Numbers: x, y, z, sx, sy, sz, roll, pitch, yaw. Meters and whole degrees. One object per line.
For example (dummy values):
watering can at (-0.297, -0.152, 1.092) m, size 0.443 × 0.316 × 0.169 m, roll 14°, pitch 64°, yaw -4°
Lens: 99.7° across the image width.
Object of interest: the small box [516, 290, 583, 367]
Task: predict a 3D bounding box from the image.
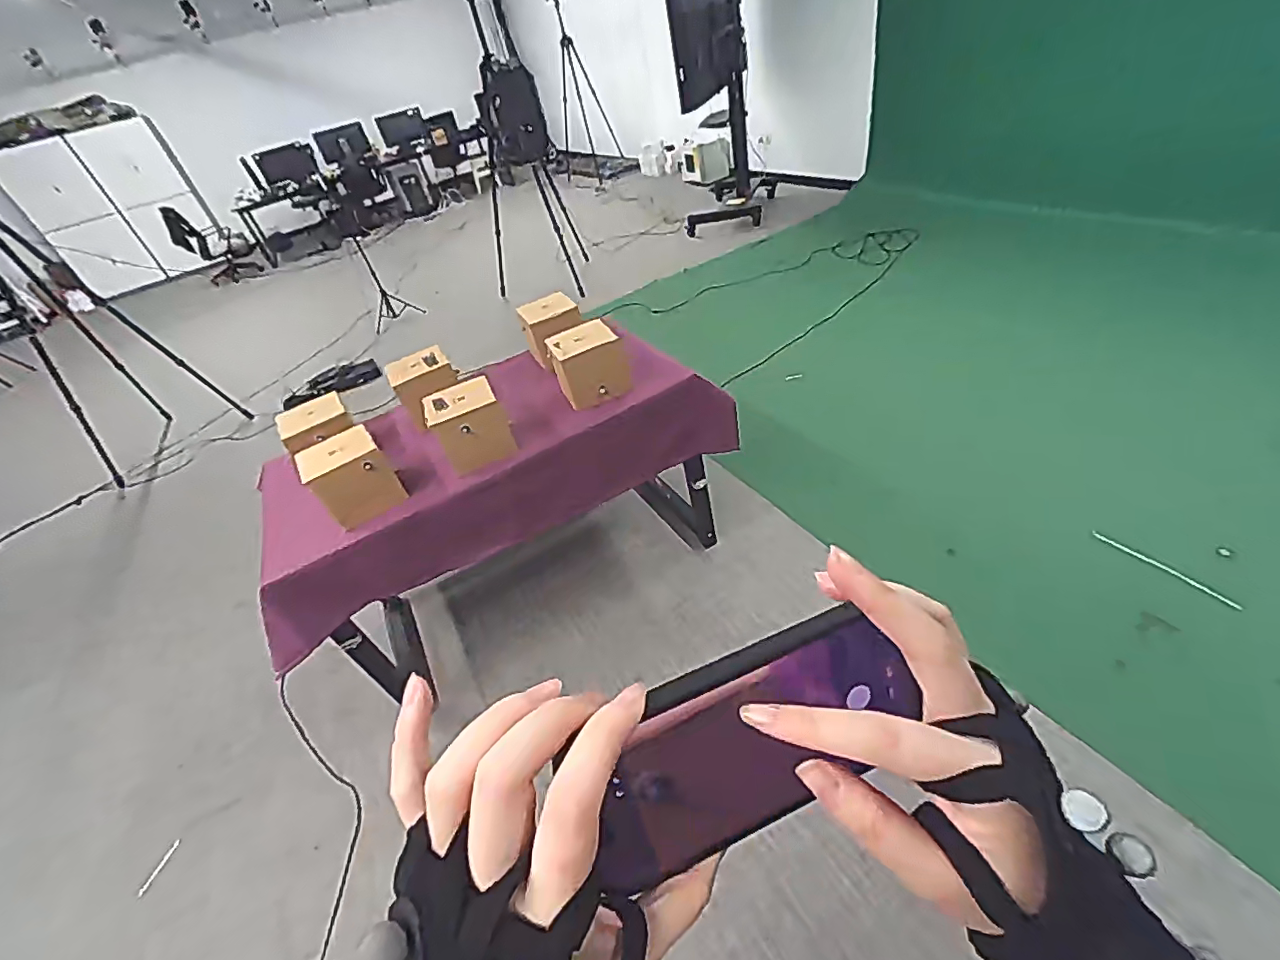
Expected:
small box at (-0.285, -0.498, 1.779) m, size 0.168 × 0.176 × 0.179 m, roll -26°, pitch 42°, yaw -12°

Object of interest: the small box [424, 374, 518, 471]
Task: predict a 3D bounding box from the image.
small box at (-0.444, -0.149, 1.428) m, size 0.179 × 0.176 × 0.168 m, roll -24°, pitch 41°, yaw -11°

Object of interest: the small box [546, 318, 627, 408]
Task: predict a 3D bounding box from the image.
small box at (-0.146, -0.335, 1.549) m, size 0.179 × 0.176 × 0.168 m, roll -23°, pitch 40°, yaw -10°

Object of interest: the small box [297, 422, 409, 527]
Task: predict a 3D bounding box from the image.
small box at (-0.718, -0.013, 1.358) m, size 0.179 × 0.176 × 0.168 m, roll -31°, pitch 42°, yaw -20°
